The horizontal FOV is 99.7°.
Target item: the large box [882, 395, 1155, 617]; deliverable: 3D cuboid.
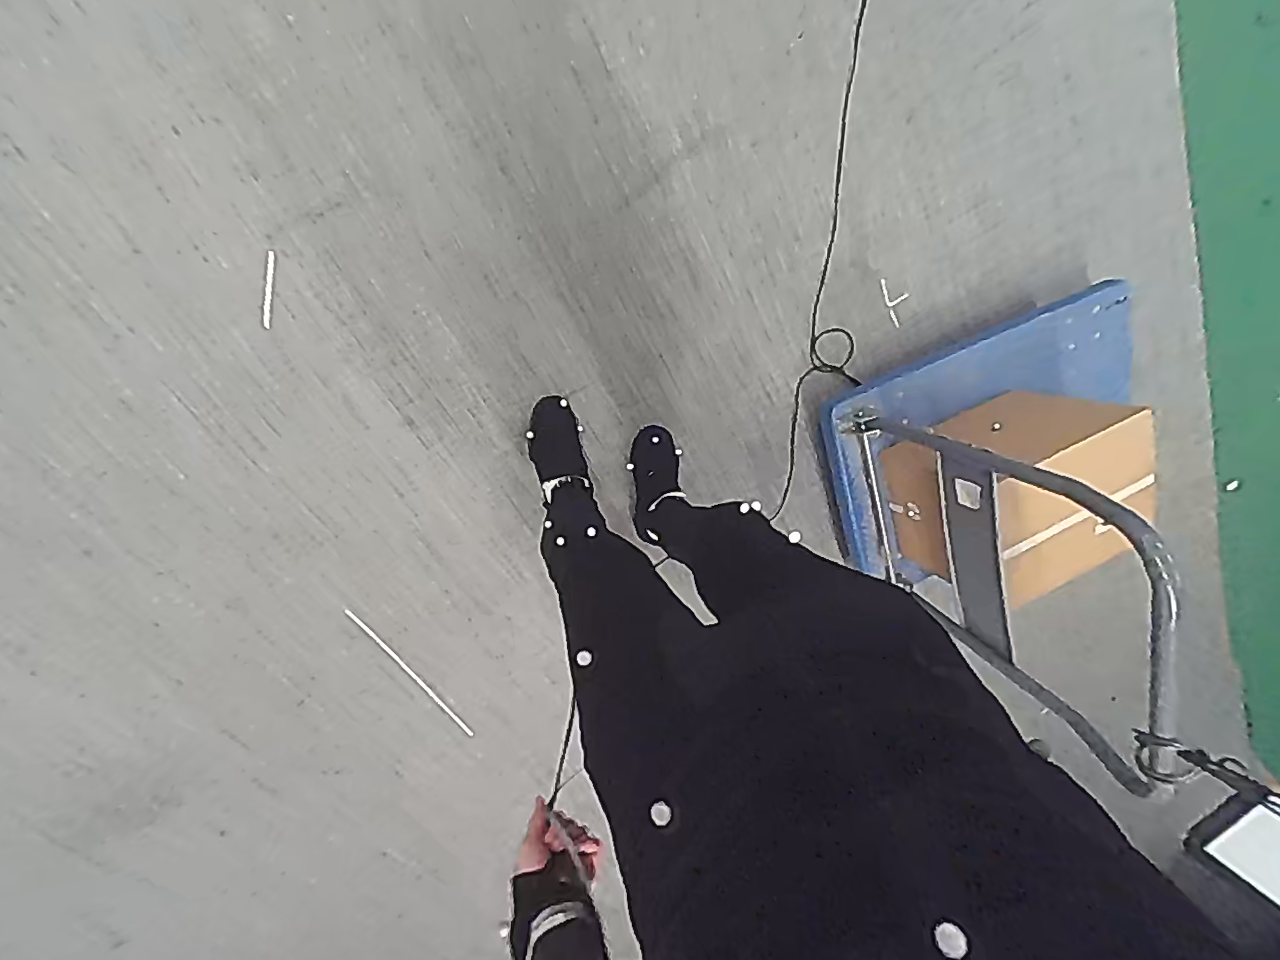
[{"bbox_3d":[0.844,0.035,1.234,0.408,0.320,0.320,-25,111,-8],"label":"large box"}]
